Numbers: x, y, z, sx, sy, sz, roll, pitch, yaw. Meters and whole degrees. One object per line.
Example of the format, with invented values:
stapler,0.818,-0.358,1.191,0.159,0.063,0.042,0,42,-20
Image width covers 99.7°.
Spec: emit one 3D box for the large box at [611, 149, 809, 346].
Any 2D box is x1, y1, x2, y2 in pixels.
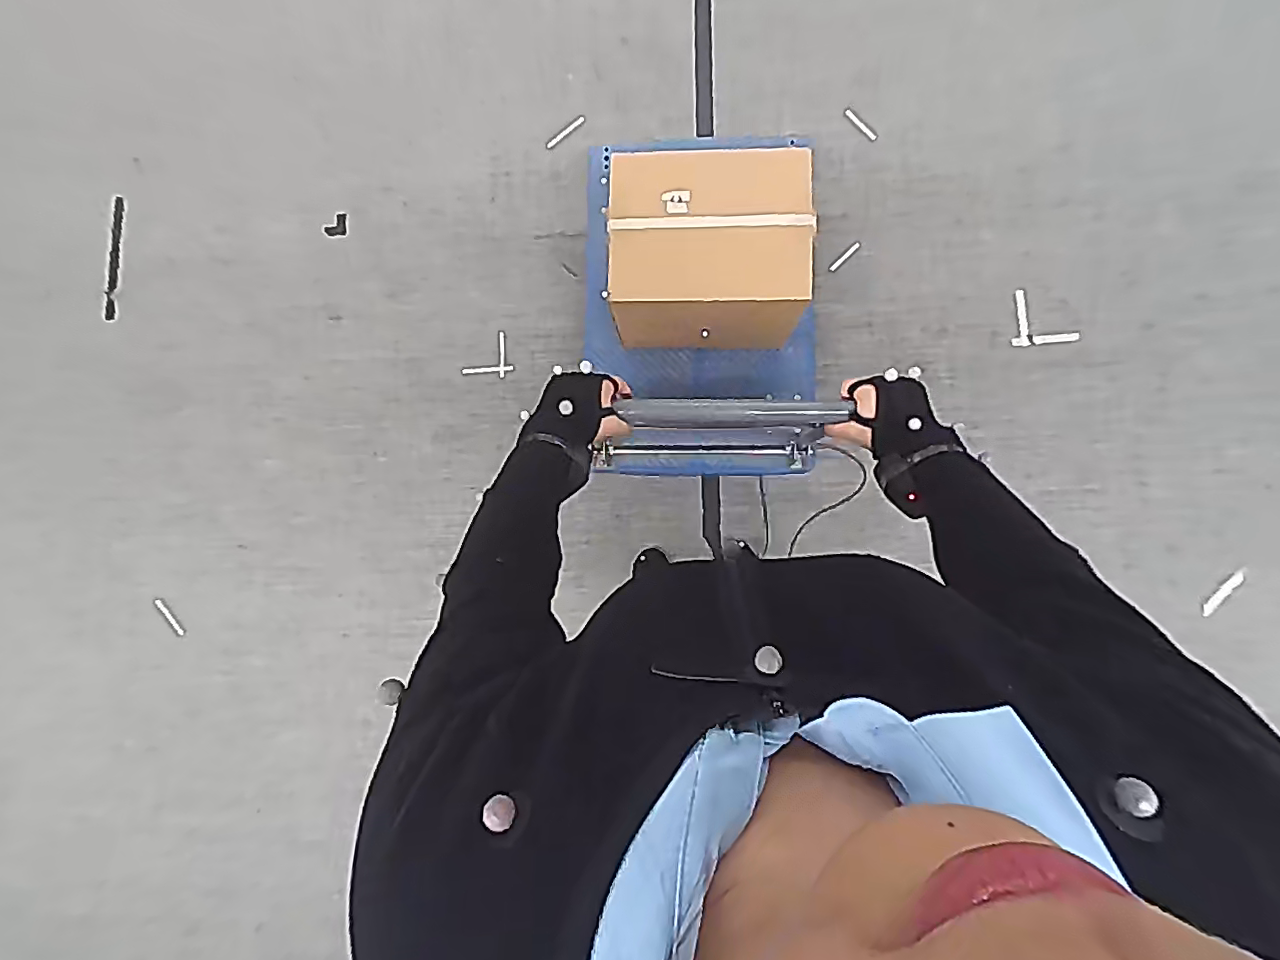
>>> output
large box,0.153,-0.506,1.246,0.408,0.320,0.320,0,85,5
